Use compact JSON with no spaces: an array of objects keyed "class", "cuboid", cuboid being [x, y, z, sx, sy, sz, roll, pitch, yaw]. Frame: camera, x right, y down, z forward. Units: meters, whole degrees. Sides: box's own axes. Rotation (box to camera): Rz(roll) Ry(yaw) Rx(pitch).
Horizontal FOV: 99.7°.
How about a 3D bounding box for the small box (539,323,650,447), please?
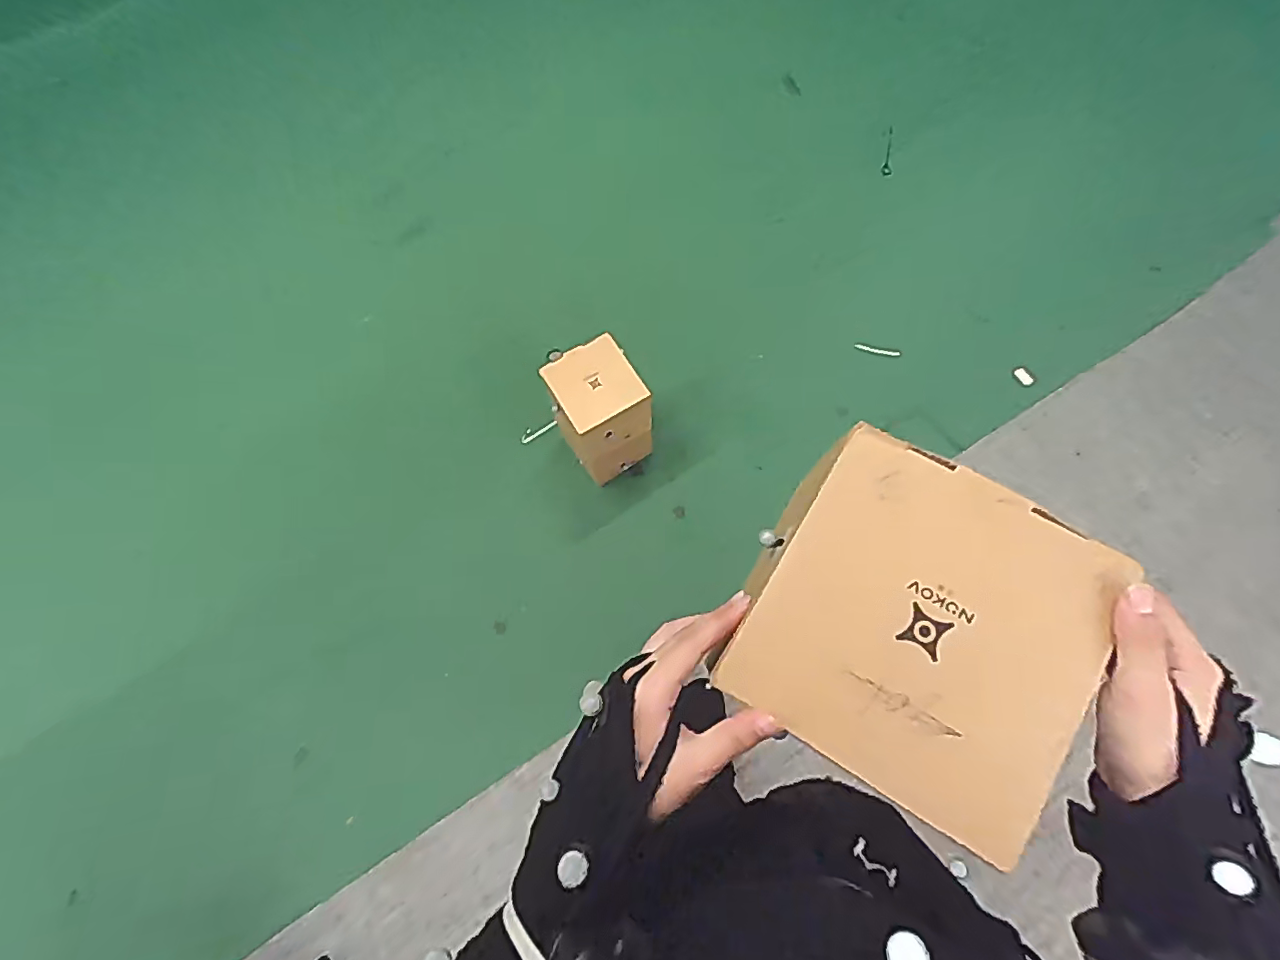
[{"class":"small box","cuboid":[-0.087,-0.190,1.149,0.168,0.176,0.179,-31,73,-7]}]
